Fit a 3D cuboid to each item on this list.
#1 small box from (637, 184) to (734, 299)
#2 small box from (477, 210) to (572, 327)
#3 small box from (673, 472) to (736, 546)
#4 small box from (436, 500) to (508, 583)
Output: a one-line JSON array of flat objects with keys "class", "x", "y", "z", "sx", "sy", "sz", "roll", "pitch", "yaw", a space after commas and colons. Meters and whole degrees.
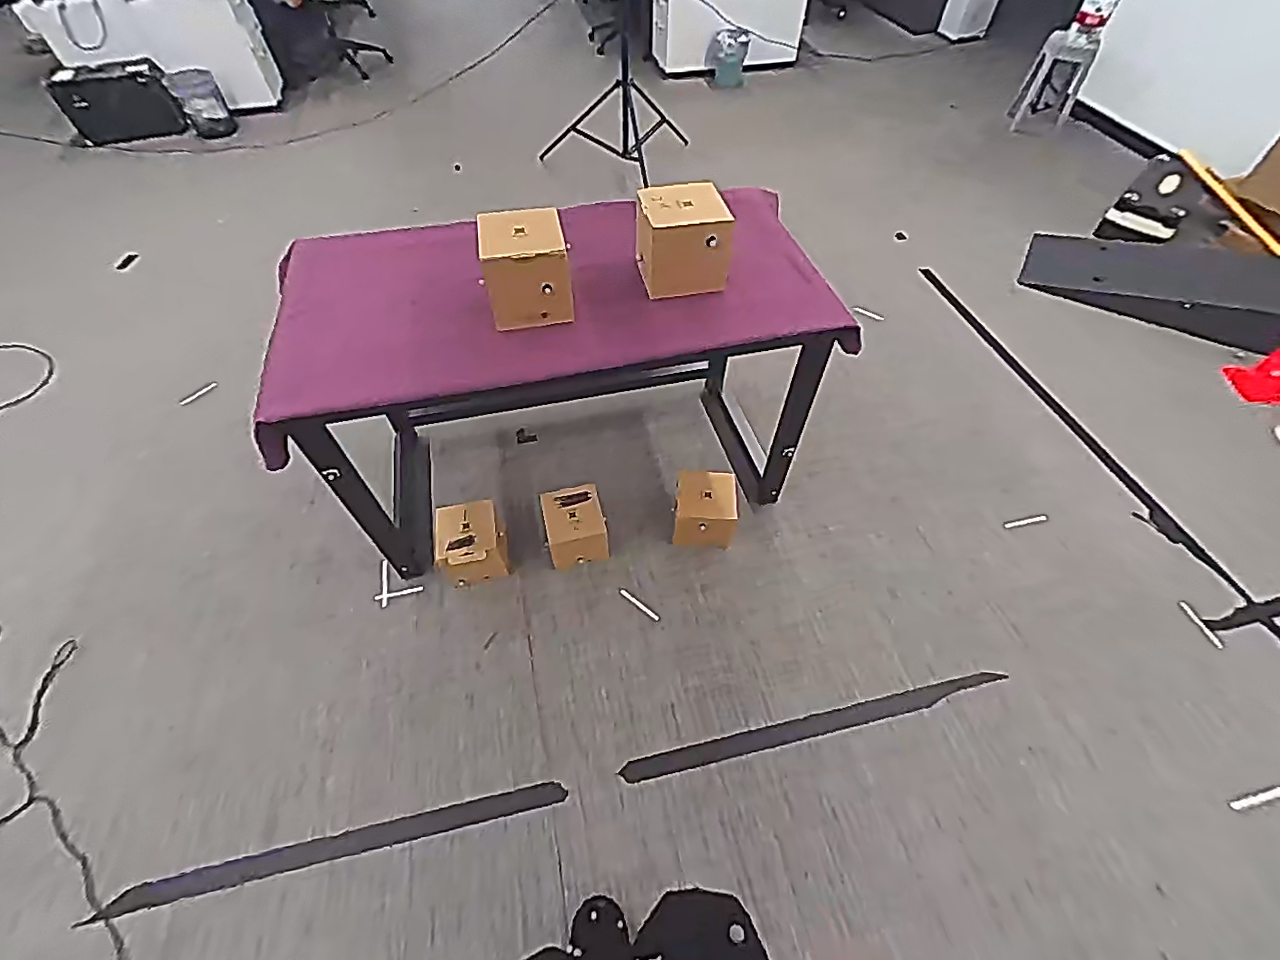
[{"class": "small box", "x": 0.092, "y": -0.526, "z": 1.200, "sx": 0.179, "sy": 0.176, "sz": 0.168, "roll": -10, "pitch": 54, "yaw": -7}, {"class": "small box", "x": -0.239, "y": -0.437, "z": 1.135, "sx": 0.168, "sy": 0.176, "sz": 0.179, "roll": -10, "pitch": 53, "yaw": -9}, {"class": "small box", "x": 0.193, "y": 0.092, "z": 1.656, "sx": 0.179, "sy": 0.176, "sz": 0.168, "roll": 2, "pitch": 55, "yaw": 3}, {"class": "small box", "x": -0.488, "y": 0.187, "z": 1.579, "sx": 0.168, "sy": 0.176, "sz": 0.179, "roll": -10, "pitch": 54, "yaw": -8}]
